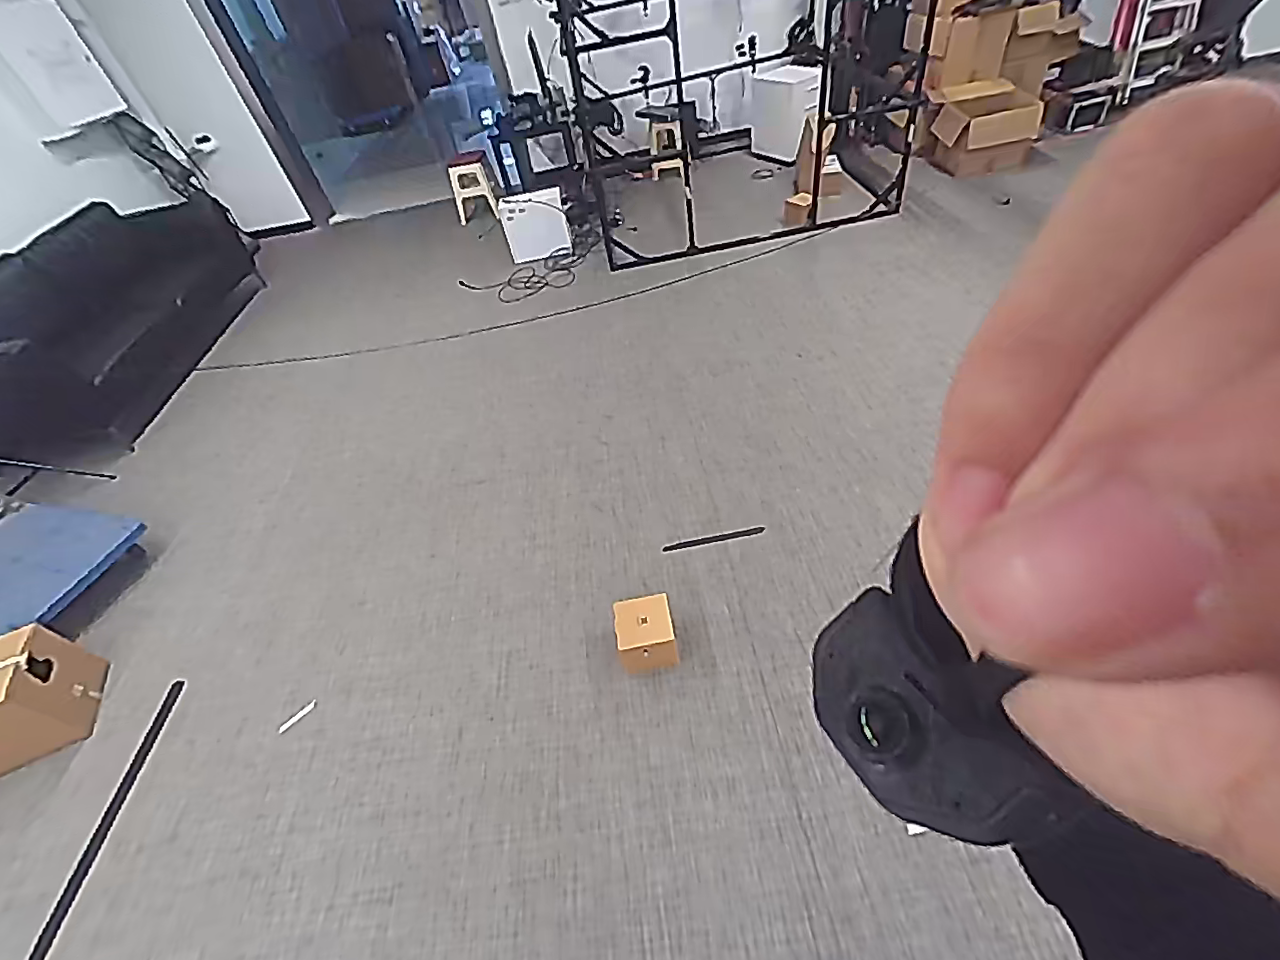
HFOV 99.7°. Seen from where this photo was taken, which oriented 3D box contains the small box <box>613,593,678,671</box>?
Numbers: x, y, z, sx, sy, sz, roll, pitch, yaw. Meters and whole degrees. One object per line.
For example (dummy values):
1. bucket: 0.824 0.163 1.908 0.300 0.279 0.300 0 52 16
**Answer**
1. small box: 0.021 0.488 1.728 0.179 0.176 0.168 -12 46 2
